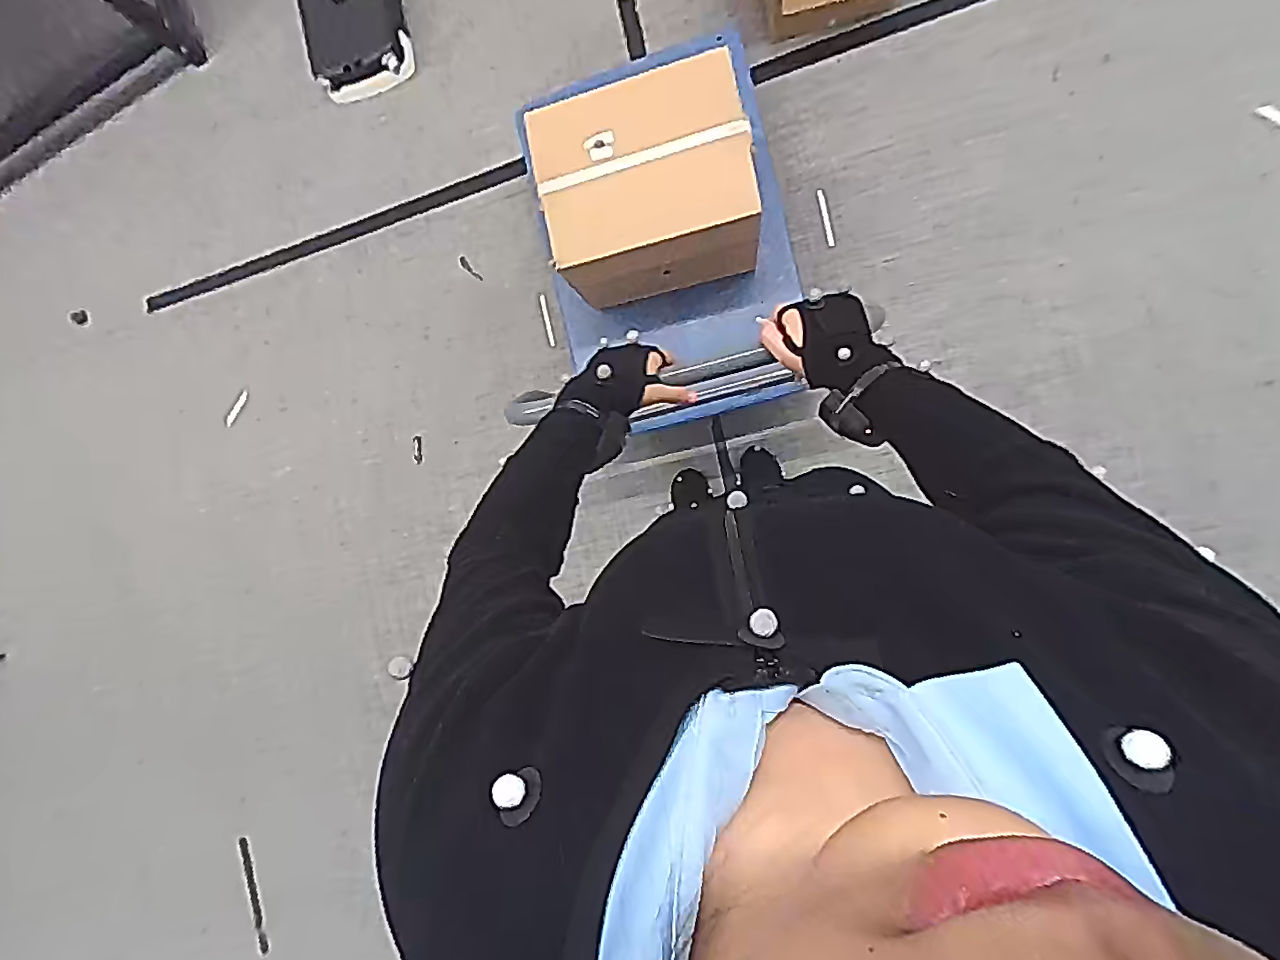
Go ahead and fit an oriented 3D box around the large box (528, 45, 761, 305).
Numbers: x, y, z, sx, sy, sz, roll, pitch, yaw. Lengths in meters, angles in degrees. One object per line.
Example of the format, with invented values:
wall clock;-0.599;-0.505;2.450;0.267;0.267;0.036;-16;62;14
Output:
large box;0.028;-0.617;1.175;0.408;0.320;0.320;-12;90;11
